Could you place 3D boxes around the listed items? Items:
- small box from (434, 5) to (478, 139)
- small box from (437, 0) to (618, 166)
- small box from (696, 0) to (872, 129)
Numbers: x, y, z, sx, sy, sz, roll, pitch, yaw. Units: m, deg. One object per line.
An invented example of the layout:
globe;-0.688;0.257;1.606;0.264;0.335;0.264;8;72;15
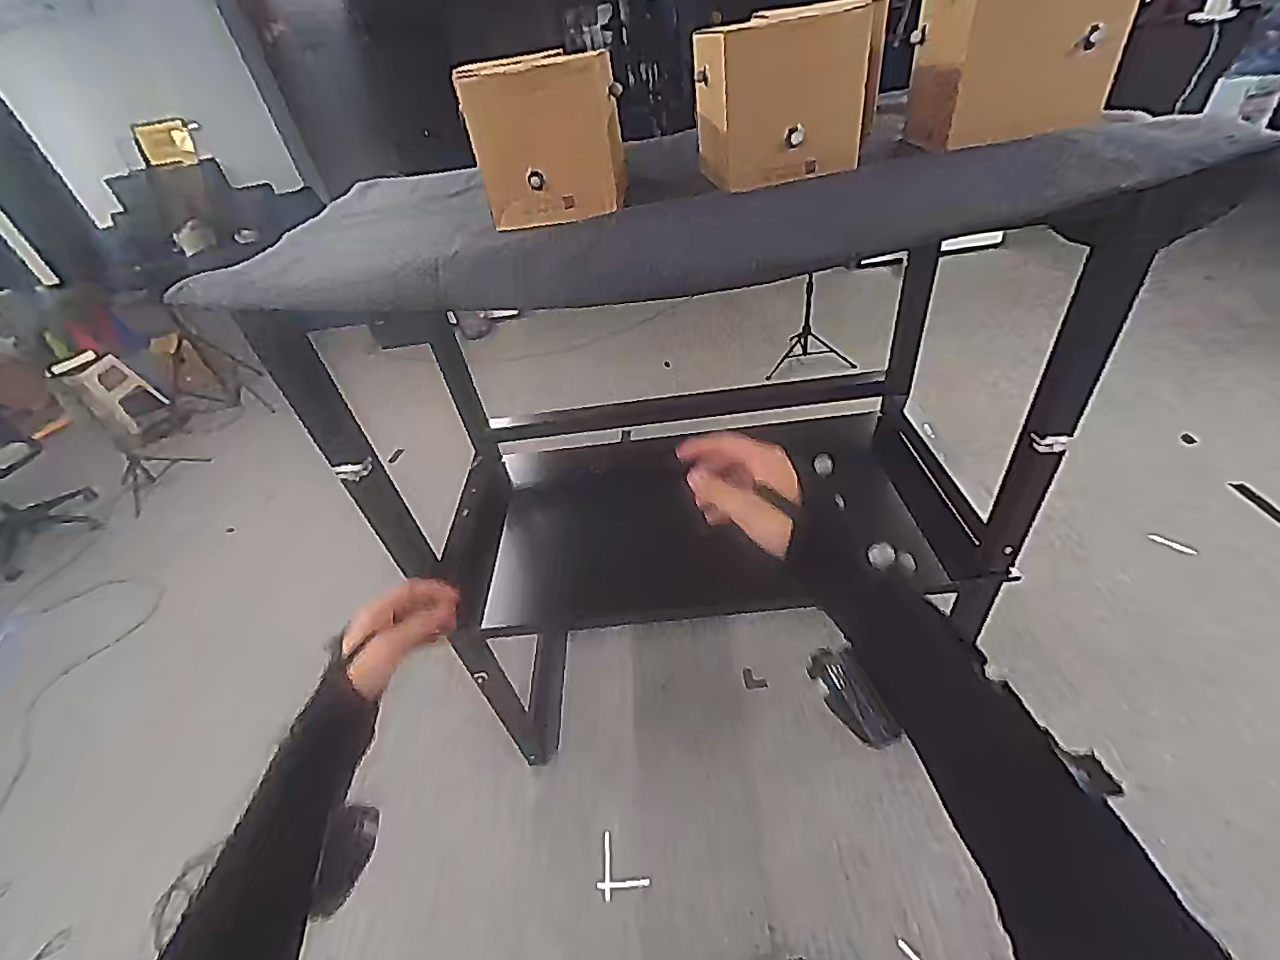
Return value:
small box;-0.201;-0.656;0.857;0.168;0.176;0.179;-9;41;1
small box;-0.123;-0.503;0.669;0.168;0.176;0.179;-5;40;6
small box;0.162;-0.541;0.654;0.168;0.176;0.179;-11;41;0
